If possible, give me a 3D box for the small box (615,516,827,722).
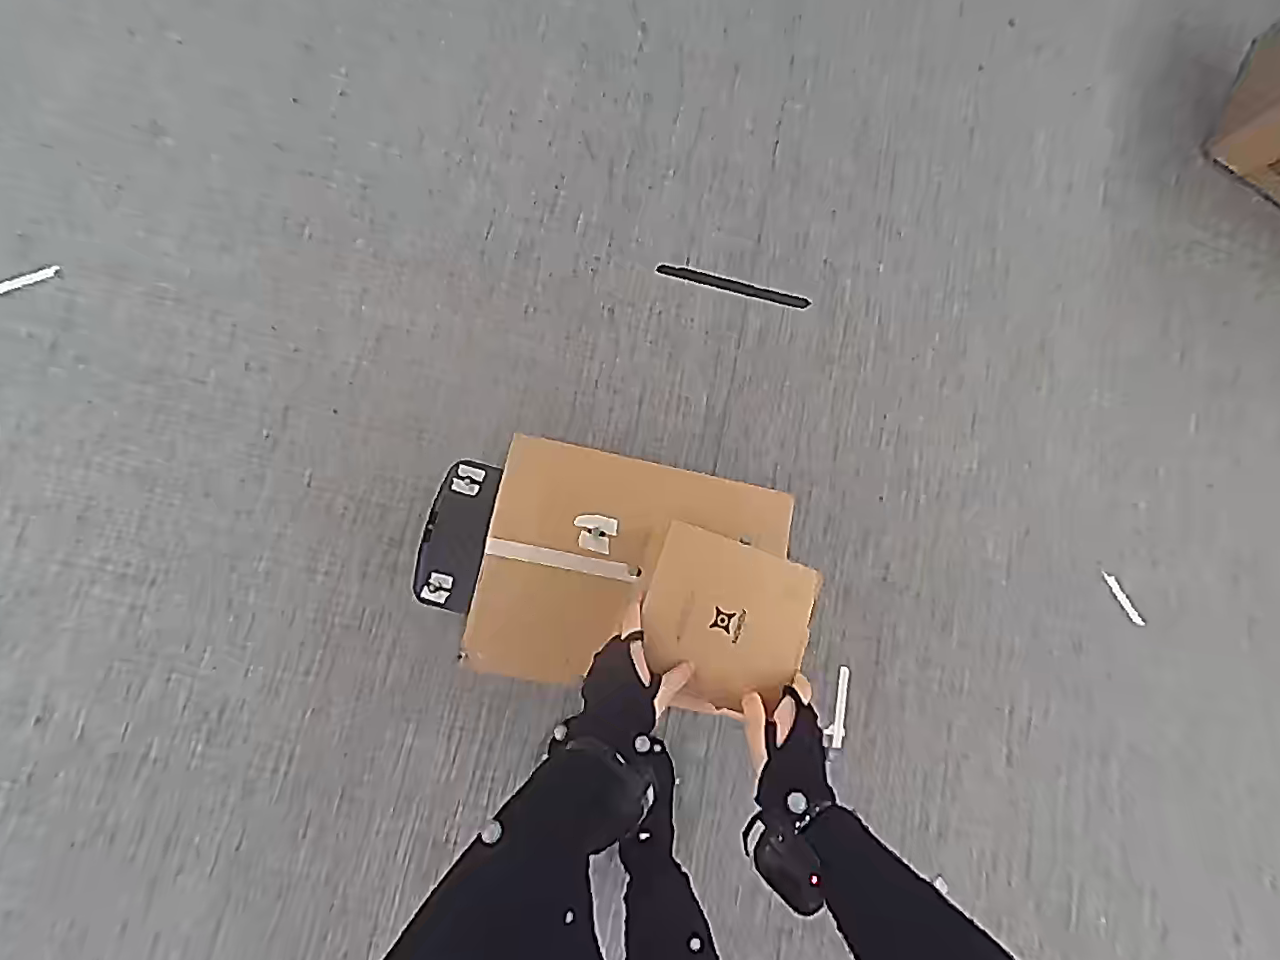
[{"bbox_3d":[0.081,0.149,0.628,0.179,0.176,0.168,20,80,-3],"label":"small box"}]

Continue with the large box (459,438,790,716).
[{"bbox_3d":[-0.021,0.148,0.866,0.408,0.320,0.320,12,79,-4],"label":"large box"}]
